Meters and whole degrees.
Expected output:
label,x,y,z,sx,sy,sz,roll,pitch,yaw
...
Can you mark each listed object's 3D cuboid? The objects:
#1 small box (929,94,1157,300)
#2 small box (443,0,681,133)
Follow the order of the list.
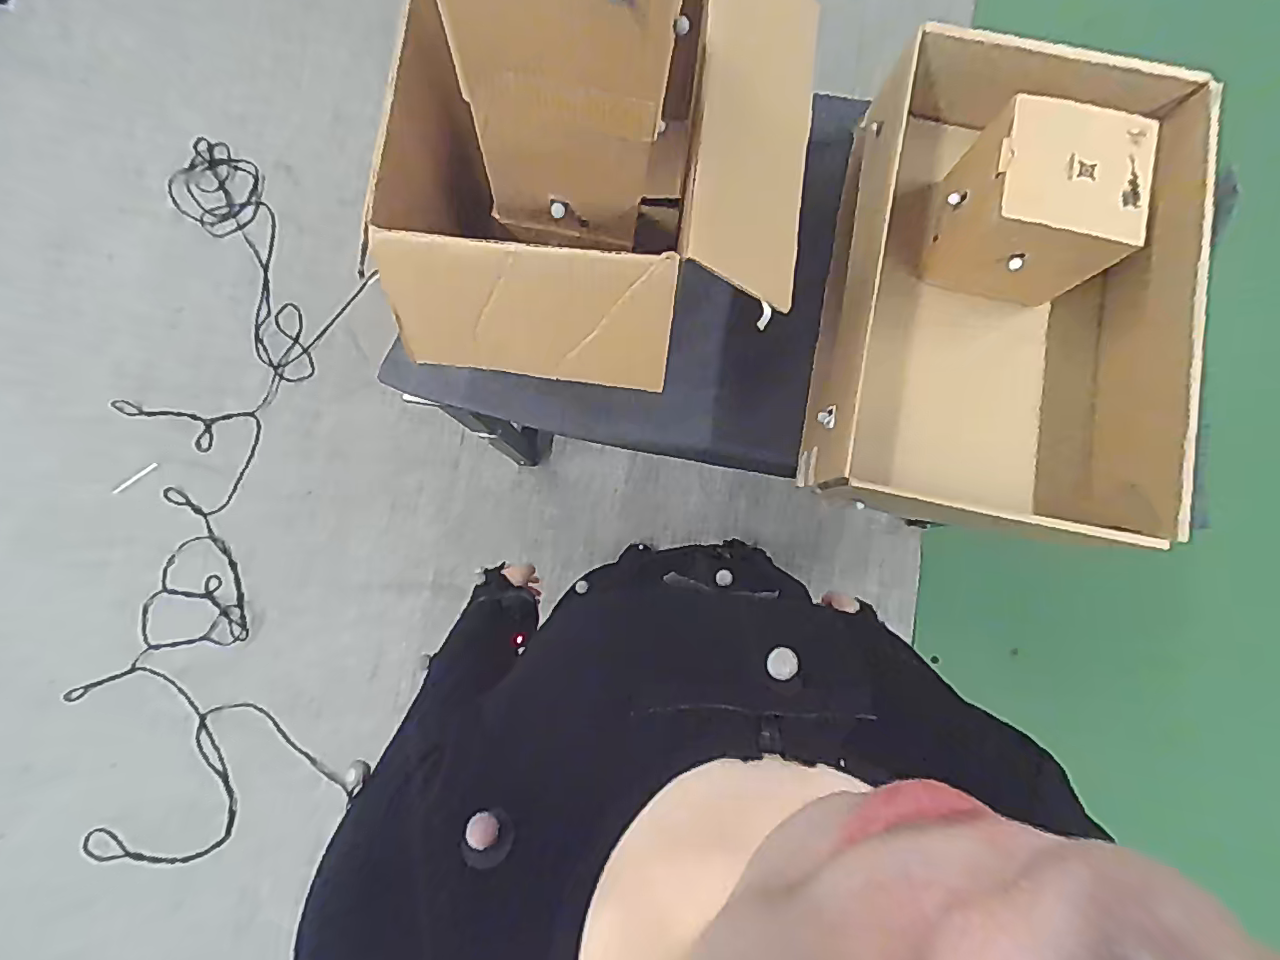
label,x,y,z,sx,sy,sz,roll,pitch,yaw
small box,0.516,-0.360,0.717,0.179,0.176,0.168,12,85,2
small box,-0.052,-0.411,0.418,0.179,0.176,0.168,10,81,-4
